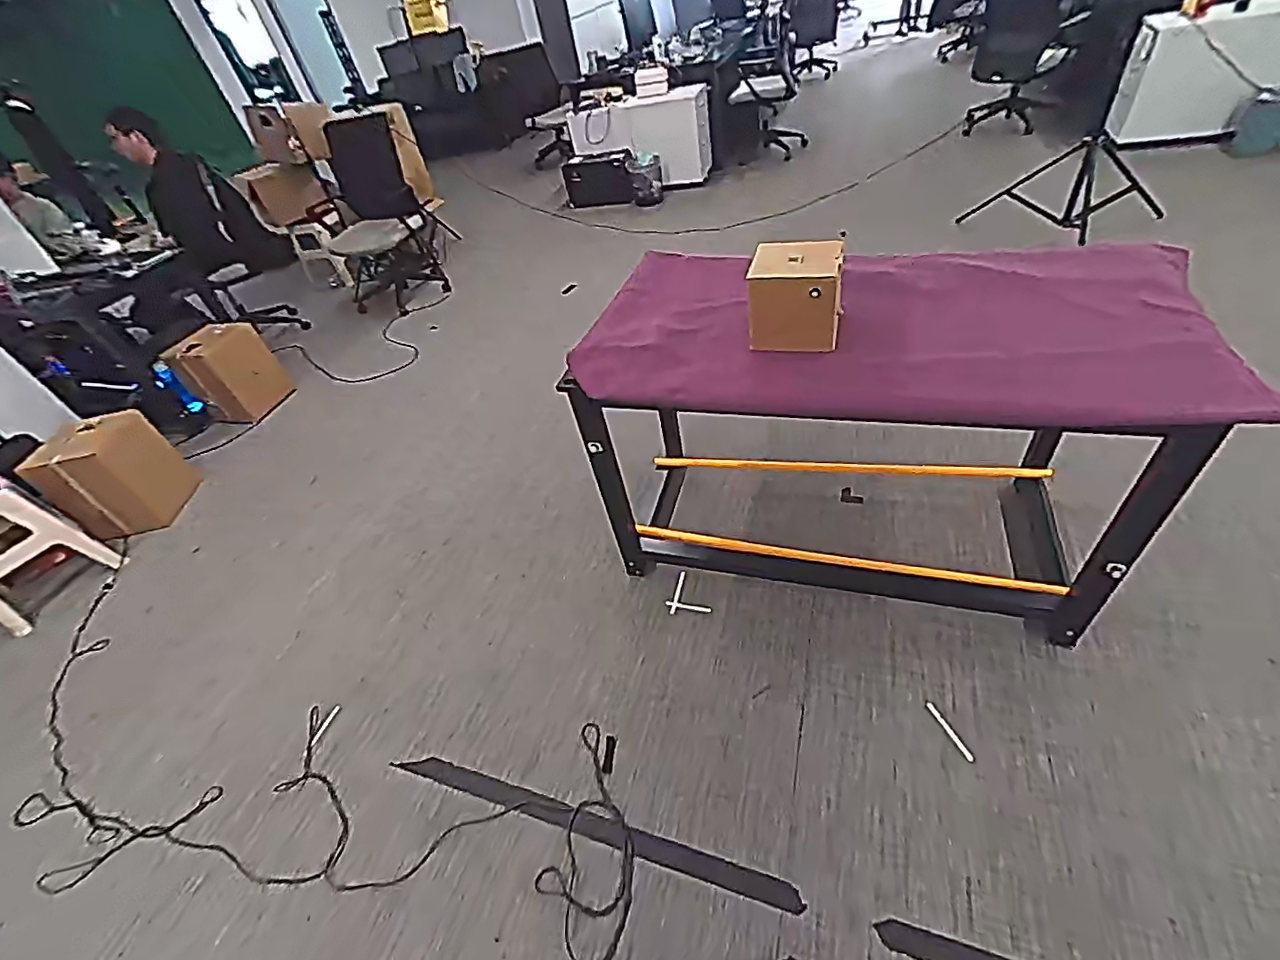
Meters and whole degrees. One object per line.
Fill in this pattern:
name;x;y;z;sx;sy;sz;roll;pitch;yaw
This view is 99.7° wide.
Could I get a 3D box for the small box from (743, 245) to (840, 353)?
small box;0.325;-0.385;1.158;0.179;0.176;0.168;7;46;19
